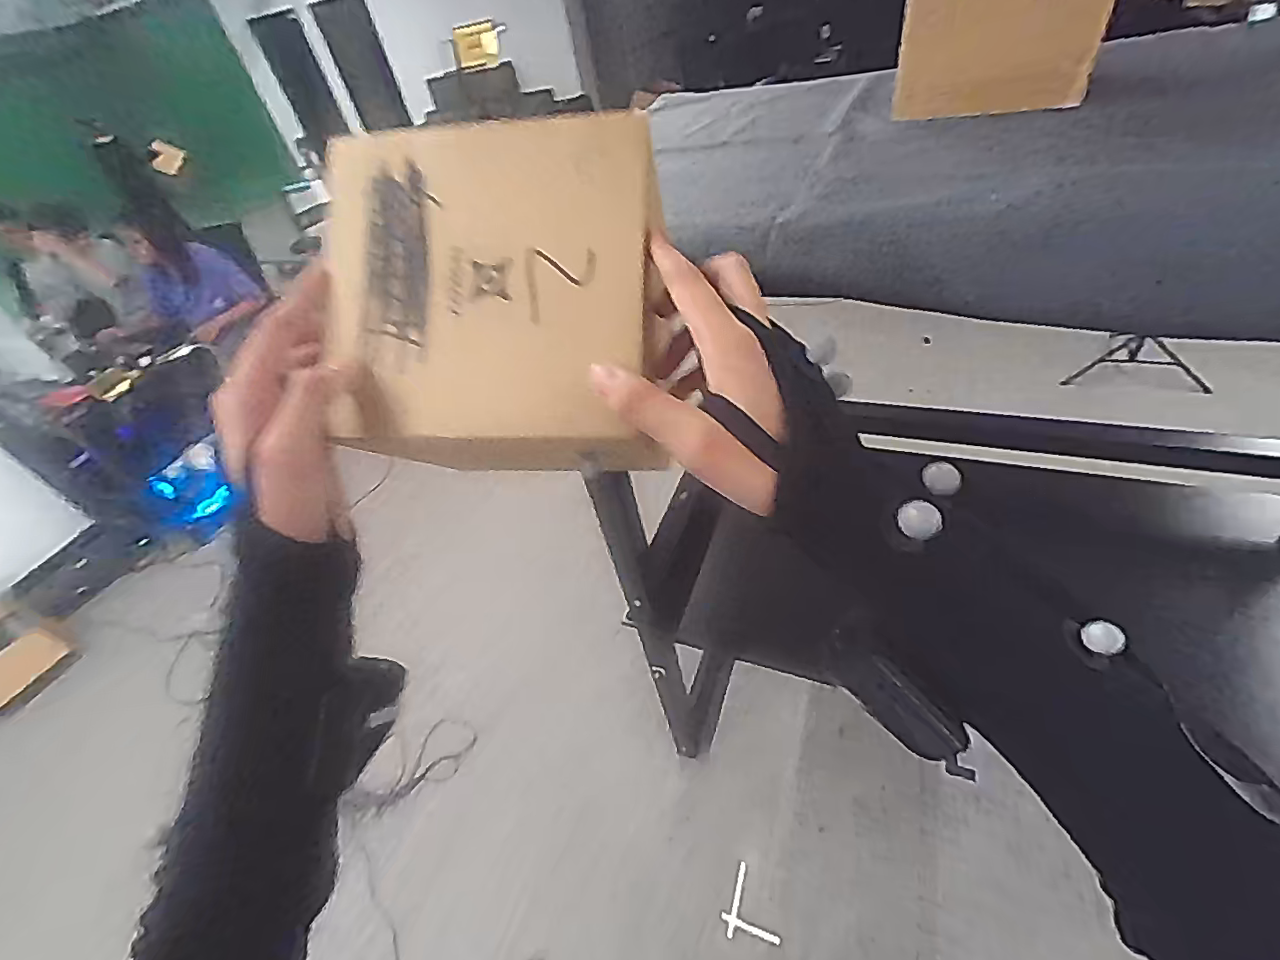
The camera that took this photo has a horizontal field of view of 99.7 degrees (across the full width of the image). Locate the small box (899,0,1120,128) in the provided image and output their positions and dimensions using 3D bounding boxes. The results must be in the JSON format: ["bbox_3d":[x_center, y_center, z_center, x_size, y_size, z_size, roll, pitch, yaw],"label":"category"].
[{"bbox_3d":[0.390,-0.492,0.567,0.179,0.176,0.168,13,49,26],"label":"small box"}]
